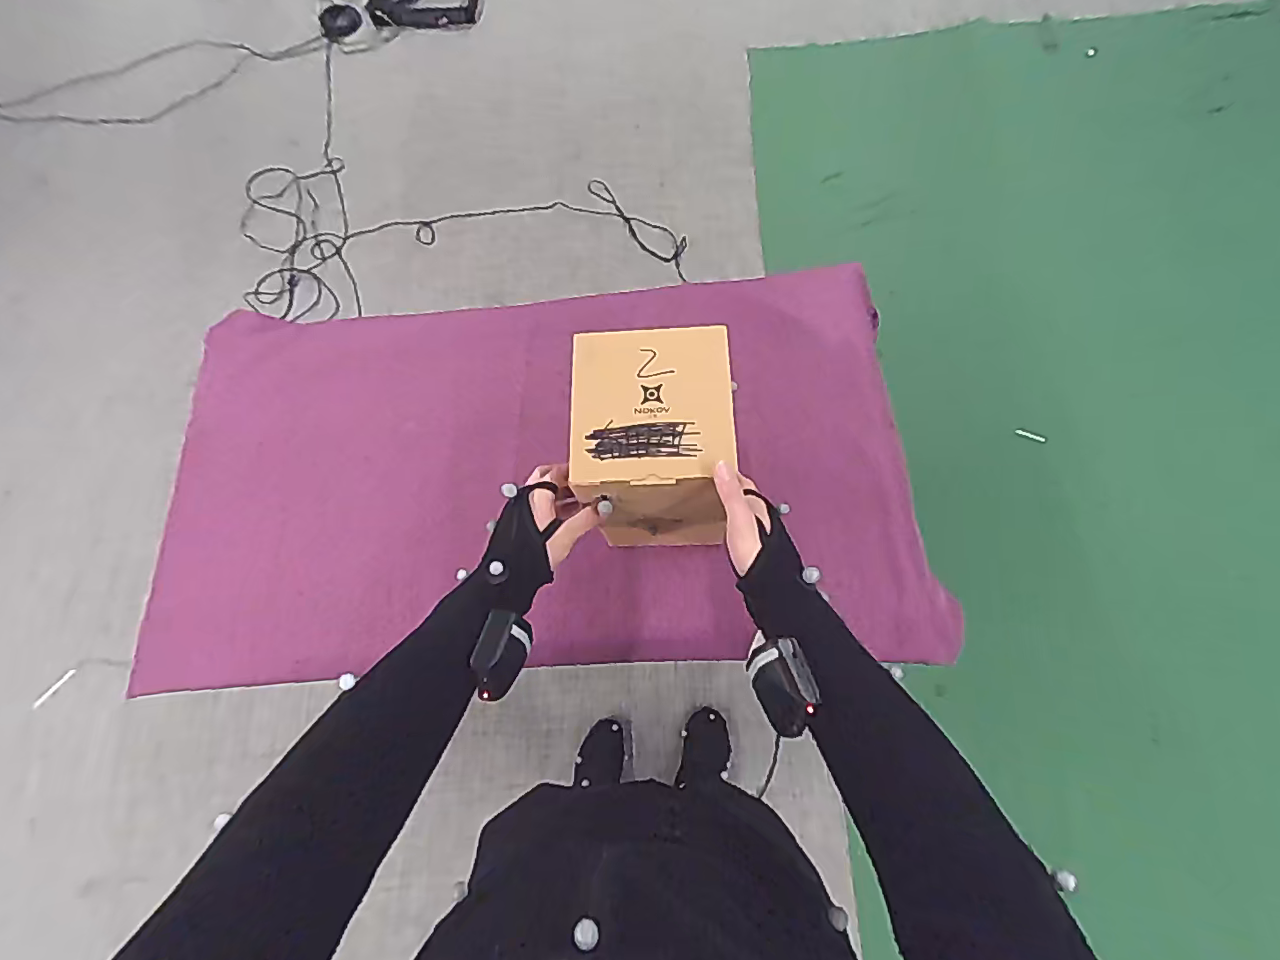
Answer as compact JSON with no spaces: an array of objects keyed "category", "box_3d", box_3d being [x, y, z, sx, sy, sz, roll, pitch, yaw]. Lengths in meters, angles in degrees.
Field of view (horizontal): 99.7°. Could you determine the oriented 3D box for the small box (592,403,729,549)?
[{"category":"small box","box_3d":[0.032,0.002,0.782,0.179,0.176,0.168,-2,70,4]}]
